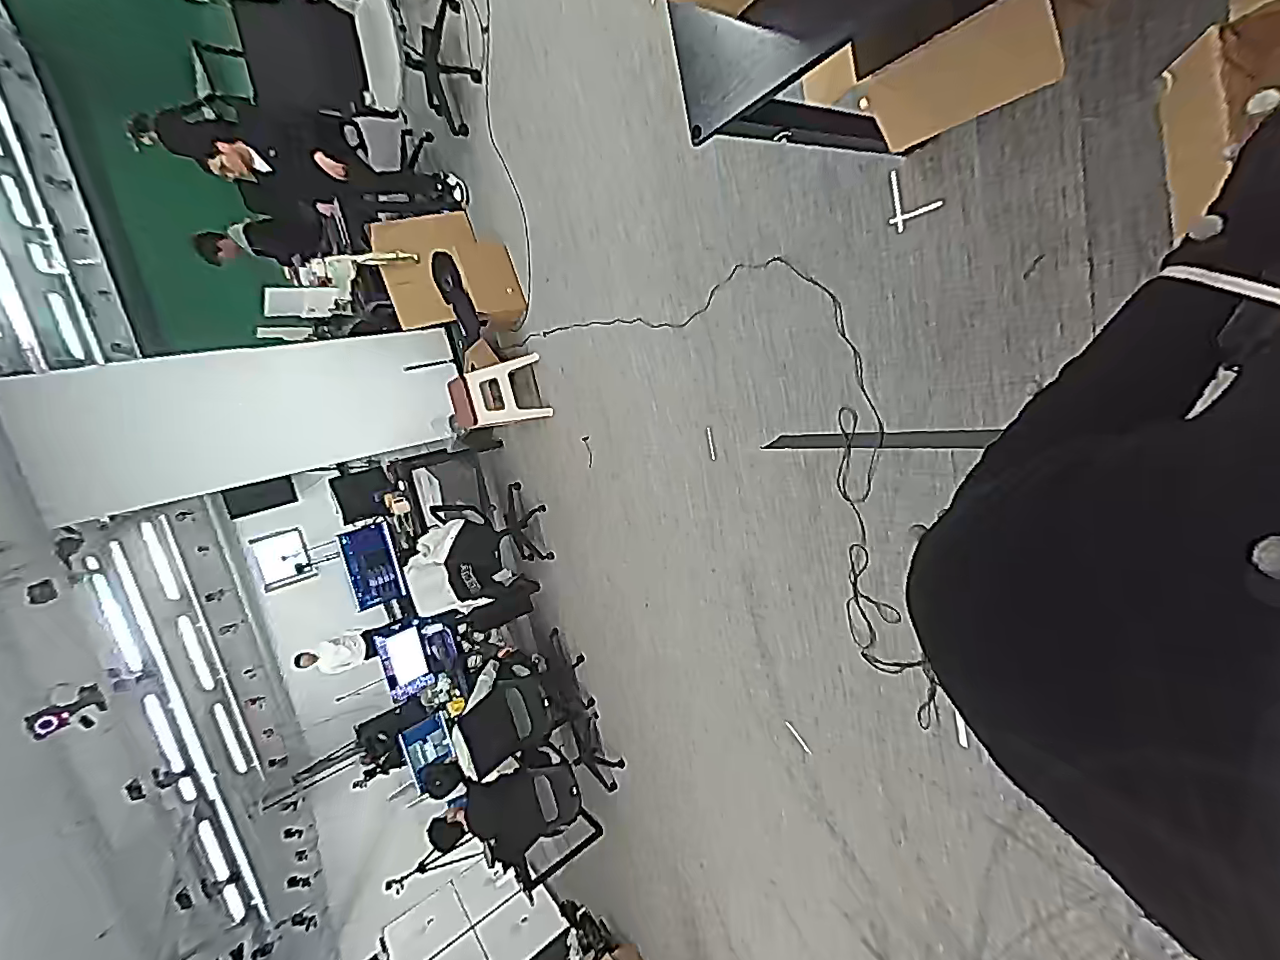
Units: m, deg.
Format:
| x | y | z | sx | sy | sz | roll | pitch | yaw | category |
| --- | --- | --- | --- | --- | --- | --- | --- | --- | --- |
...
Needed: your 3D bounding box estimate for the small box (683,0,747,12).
| x | y | z | sx | sy | sz | roll | pitch | yaw | category |
| --- | --- | --- | --- | --- | --- | --- | --- | --- | --- |
| 0.116 | -0.784 | 0.721 | 0.179 | 0.176 | 0.168 | 1 | 106 | 54 | small box |
